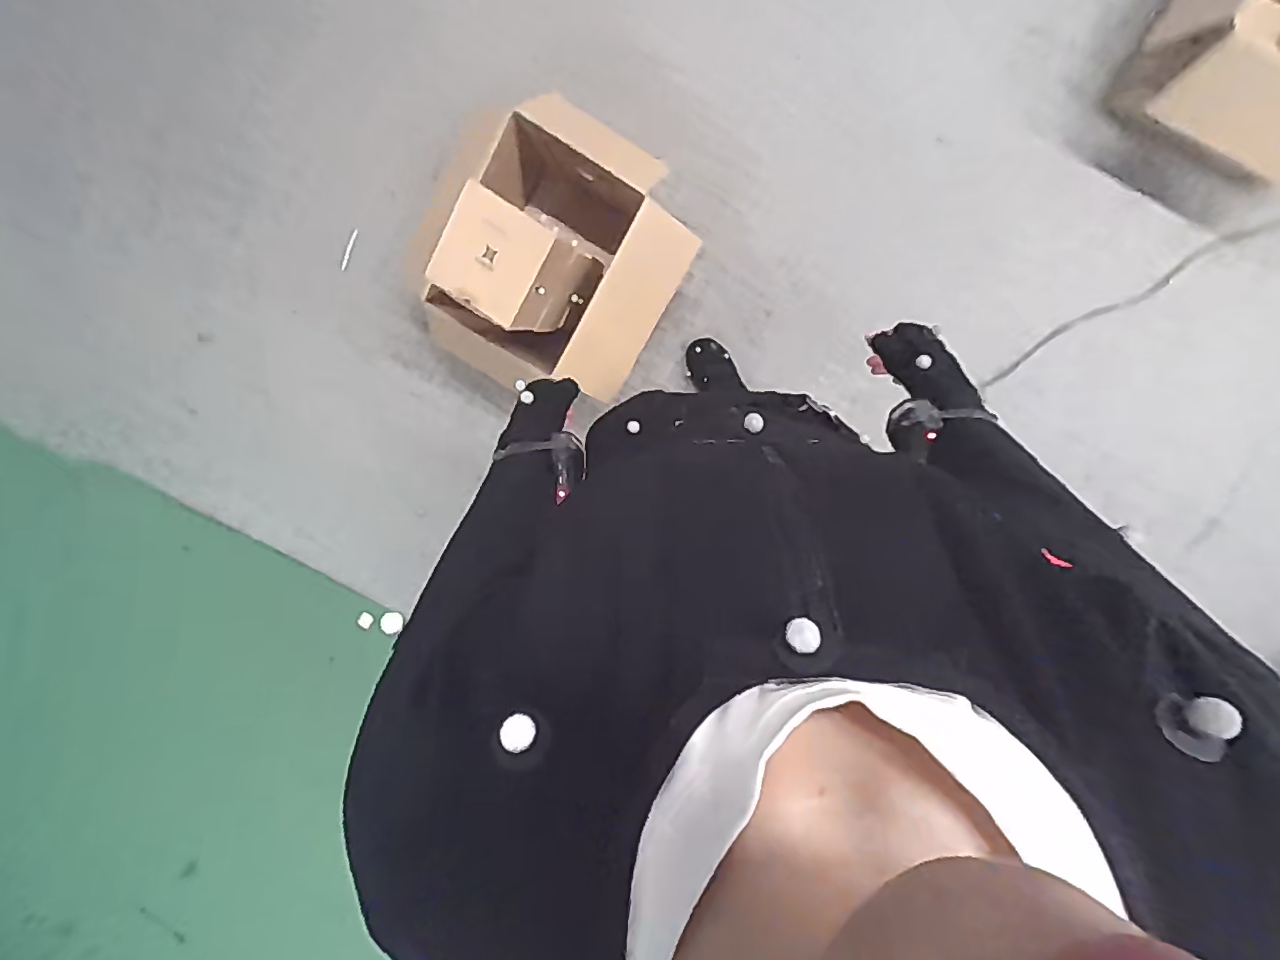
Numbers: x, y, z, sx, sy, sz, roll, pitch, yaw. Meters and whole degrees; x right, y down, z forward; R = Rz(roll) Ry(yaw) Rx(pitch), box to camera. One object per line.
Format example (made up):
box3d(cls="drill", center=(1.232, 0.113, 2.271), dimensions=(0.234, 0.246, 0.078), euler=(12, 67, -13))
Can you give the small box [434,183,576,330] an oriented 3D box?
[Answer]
box3d(cls="small box", center=(-0.230, -0.388, 0.969), dimensions=(0.168, 0.176, 0.179), euler=(30, 106, -5))
